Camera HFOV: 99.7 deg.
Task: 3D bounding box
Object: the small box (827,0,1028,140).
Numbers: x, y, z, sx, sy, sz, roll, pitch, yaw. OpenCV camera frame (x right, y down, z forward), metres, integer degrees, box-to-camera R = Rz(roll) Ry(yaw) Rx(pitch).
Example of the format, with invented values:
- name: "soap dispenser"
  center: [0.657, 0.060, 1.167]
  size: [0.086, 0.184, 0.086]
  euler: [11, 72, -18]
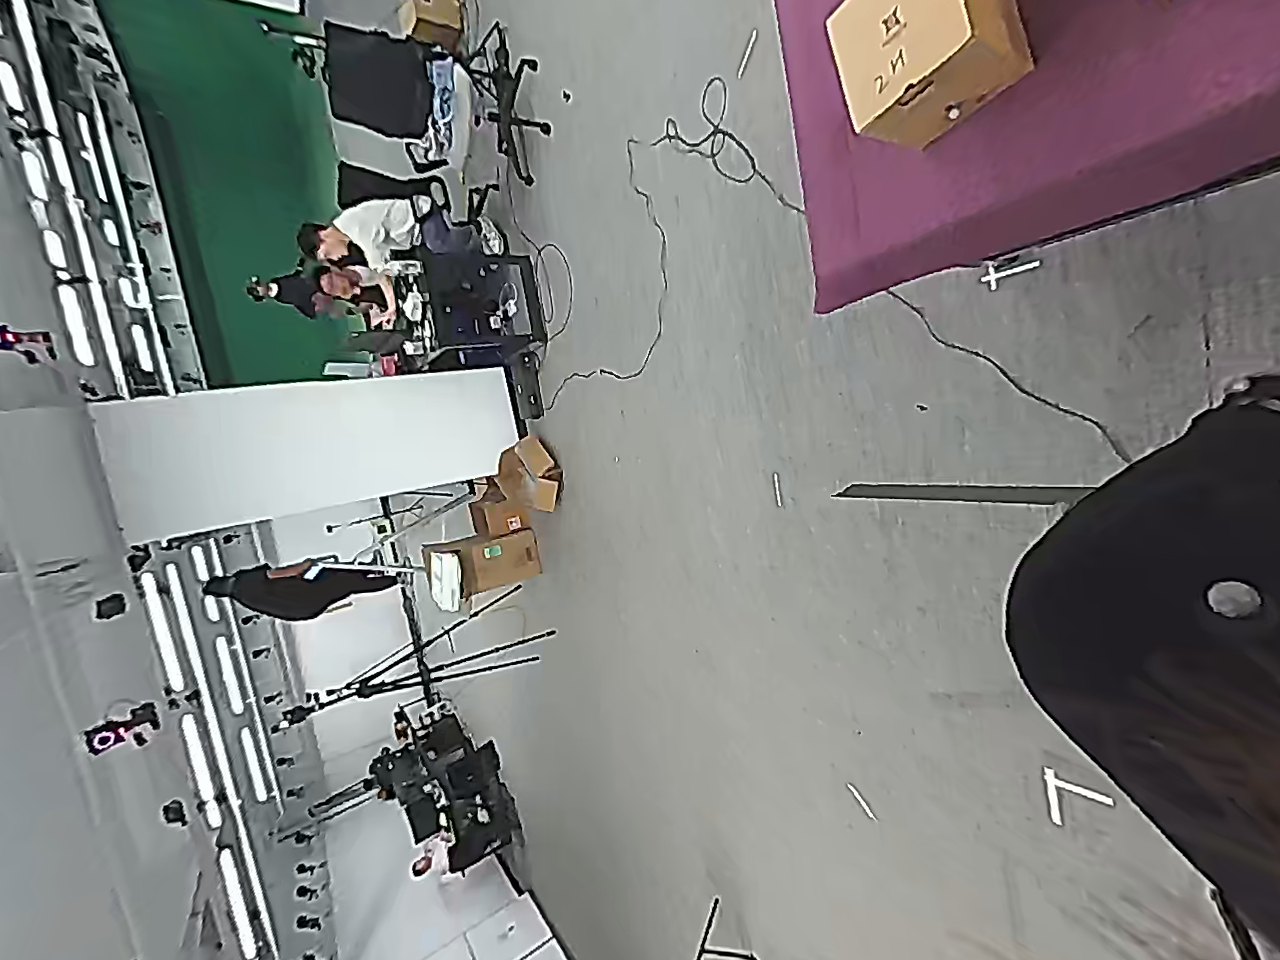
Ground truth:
- name: "small box"
  center: [0.396, -0.611, 0.749]
  size: [0.168, 0.176, 0.179]
  euler: [-17, 88, 58]
